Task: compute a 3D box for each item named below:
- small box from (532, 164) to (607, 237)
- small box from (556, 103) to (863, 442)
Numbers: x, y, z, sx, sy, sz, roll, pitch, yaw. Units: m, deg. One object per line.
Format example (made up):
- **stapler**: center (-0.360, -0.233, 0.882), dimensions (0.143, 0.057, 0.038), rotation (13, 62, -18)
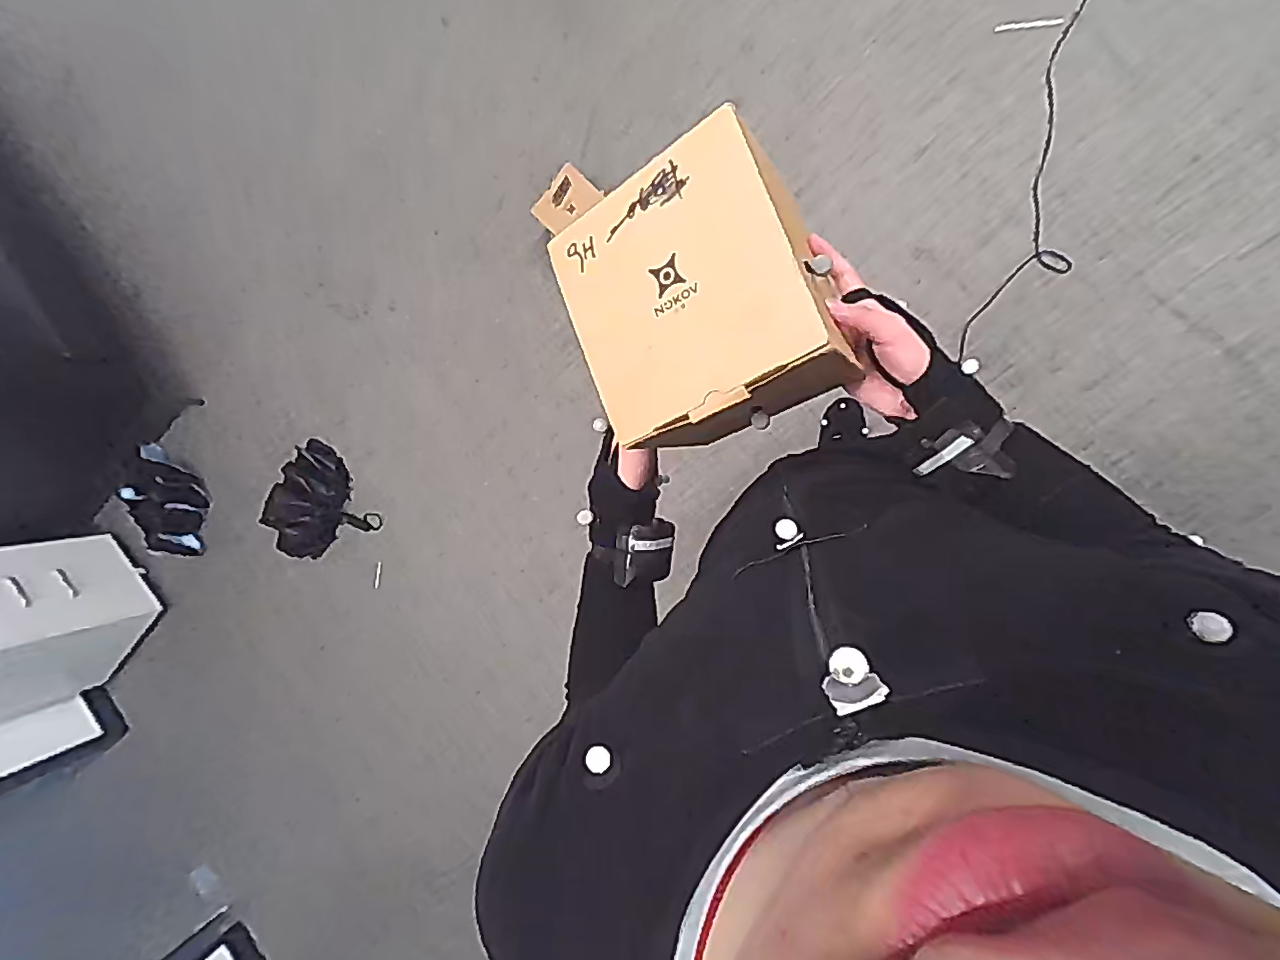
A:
- **small box**: center (-0.167, -0.745, 1.544), dimensions (0.179, 0.176, 0.168), rotation (46, 105, 8)
- **small box**: center (0.067, -0.144, 0.446), dimensions (0.168, 0.176, 0.179), rotation (-24, 84, 29)
